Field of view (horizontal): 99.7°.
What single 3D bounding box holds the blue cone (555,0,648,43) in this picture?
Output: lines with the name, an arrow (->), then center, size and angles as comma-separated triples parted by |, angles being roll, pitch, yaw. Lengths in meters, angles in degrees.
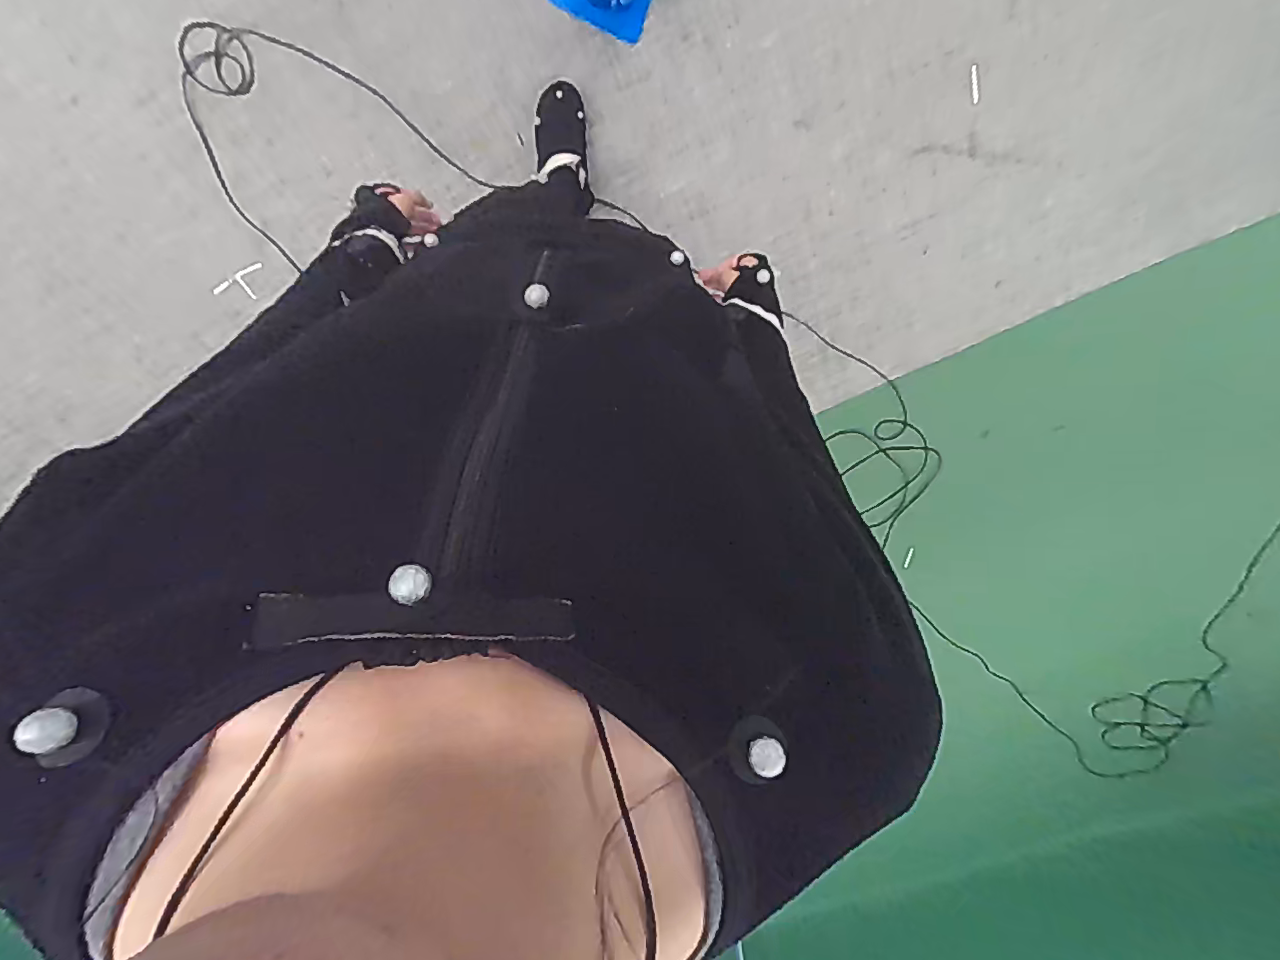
blue cone -> -0.054, -0.890, 0.882 | 0.192, 0.380, 0.193 | 16, 117, -12
